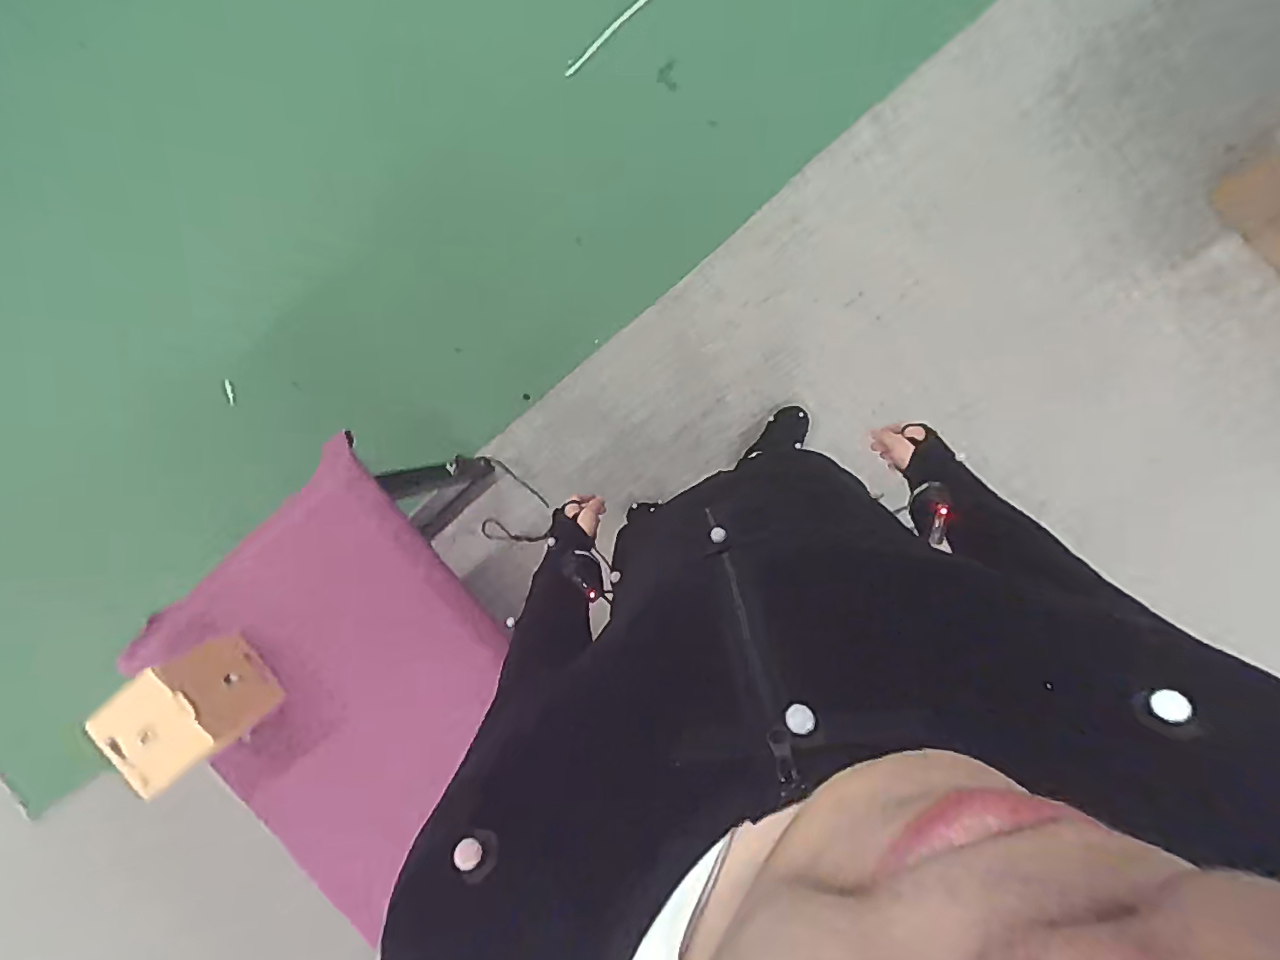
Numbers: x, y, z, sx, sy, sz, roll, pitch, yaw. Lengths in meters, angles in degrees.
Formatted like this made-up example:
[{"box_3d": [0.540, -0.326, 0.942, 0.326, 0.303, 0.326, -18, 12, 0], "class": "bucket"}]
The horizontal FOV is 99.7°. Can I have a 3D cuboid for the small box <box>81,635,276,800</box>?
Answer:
[{"box_3d": [-0.795, 0.406, 0.958, 0.179, 0.176, 0.168, -38, 91, 6], "class": "small box"}]
